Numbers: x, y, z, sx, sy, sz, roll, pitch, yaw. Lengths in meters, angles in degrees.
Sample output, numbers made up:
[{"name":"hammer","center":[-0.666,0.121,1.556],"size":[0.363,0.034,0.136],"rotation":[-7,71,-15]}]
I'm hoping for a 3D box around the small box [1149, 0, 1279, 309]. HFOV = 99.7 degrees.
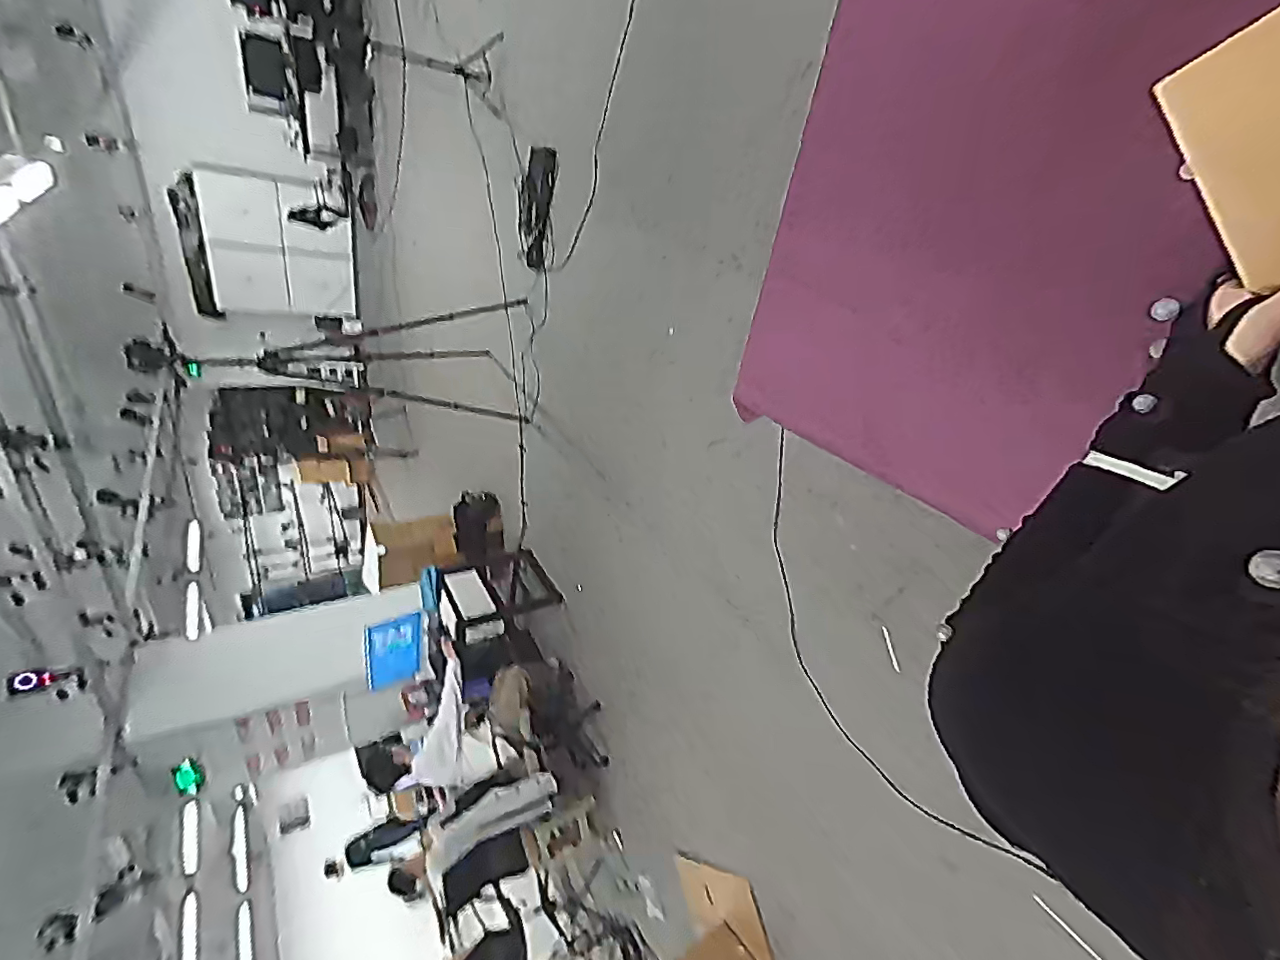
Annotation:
[{"name":"small box","center":[0.461,-0.230,0.319],"size":[0.179,0.176,0.168],"rotation":[-21,98,57]}]
